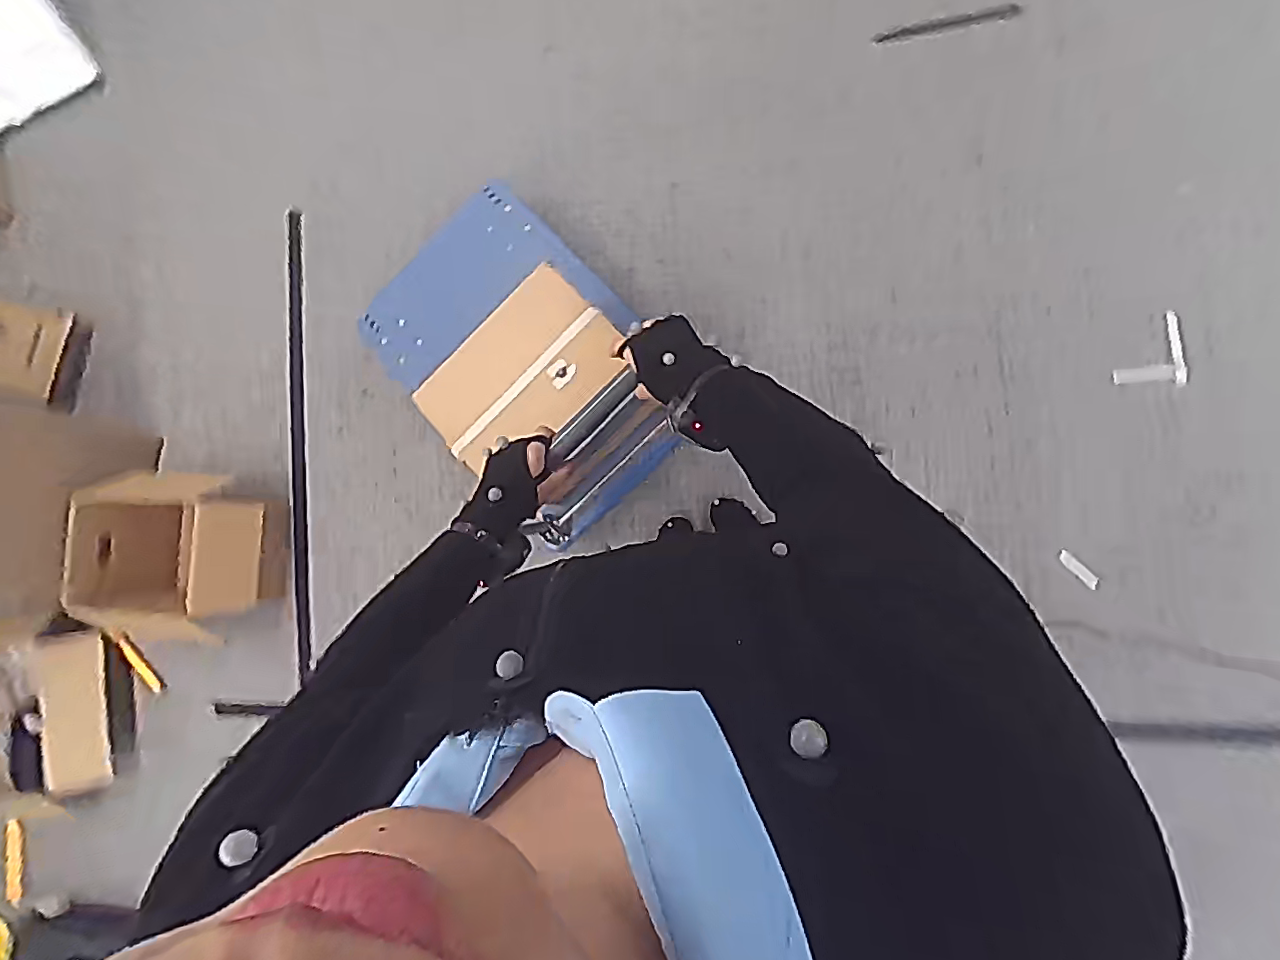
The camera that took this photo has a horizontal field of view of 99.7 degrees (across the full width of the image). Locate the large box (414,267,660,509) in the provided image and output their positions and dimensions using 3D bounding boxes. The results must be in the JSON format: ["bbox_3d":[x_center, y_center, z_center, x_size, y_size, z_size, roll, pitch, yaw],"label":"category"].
[{"bbox_3d":[-0.212,-0.179,1.238,0.408,0.320,0.320,-44,82,4],"label":"large box"}]
